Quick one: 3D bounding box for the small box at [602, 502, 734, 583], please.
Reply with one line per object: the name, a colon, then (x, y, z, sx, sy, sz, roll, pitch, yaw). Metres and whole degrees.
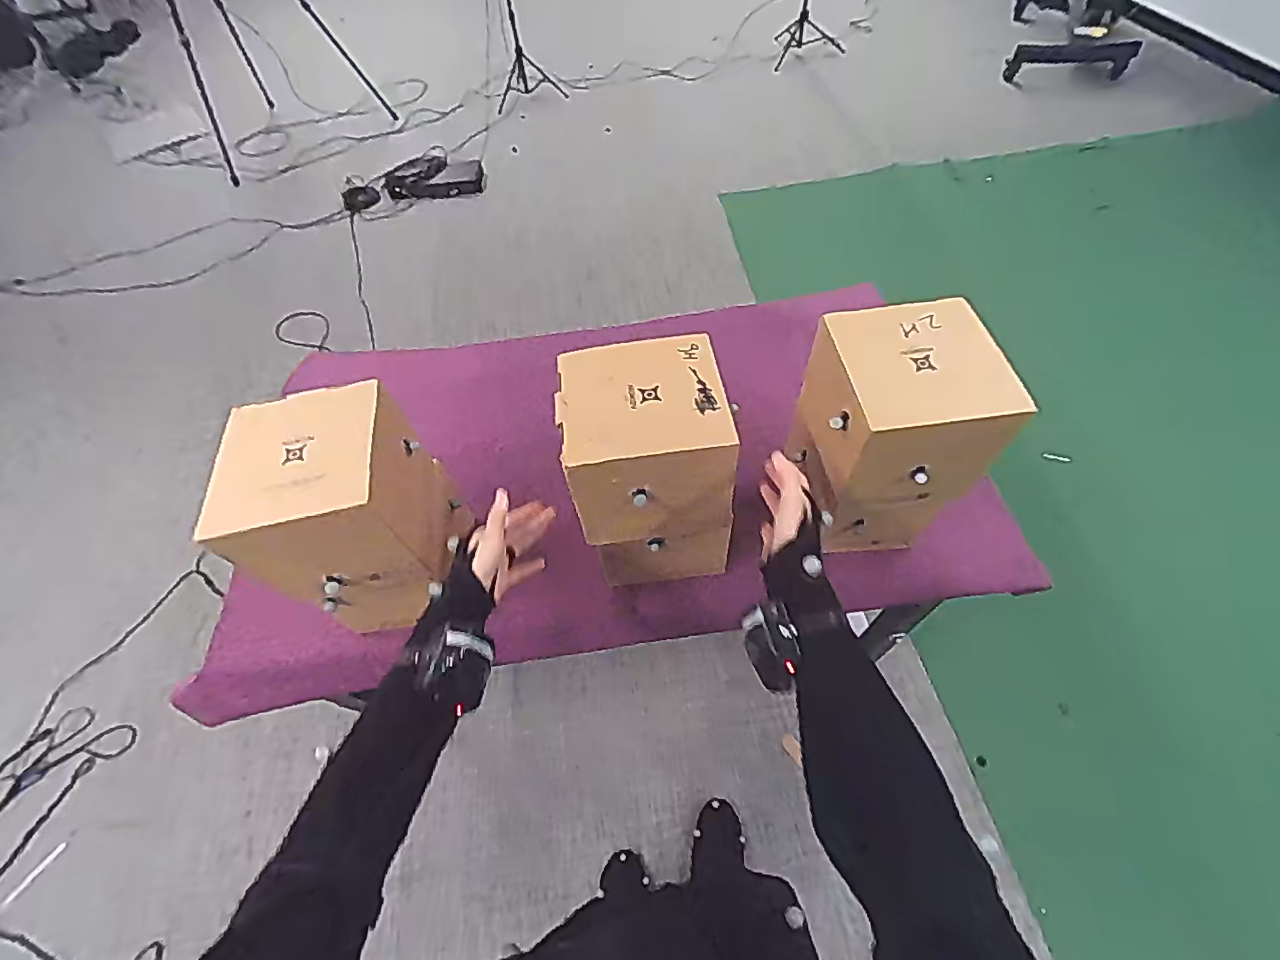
small box: (0.030, 0.037, 0.776, 0.179, 0.176, 0.168, -6, 56, -1)

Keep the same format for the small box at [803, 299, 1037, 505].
small box: (0.305, -0.081, 0.636, 0.168, 0.176, 0.179, -6, 56, 0)

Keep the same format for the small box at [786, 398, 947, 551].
small box: (0.318, -0.005, 0.783, 0.168, 0.176, 0.179, -4, 56, 2)

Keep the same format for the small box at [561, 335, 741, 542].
small box: (0.012, -0.041, 0.633, 0.179, 0.176, 0.168, -8, 56, 0)

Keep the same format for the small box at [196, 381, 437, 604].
small box: (-0.345, 0.018, 0.620, 0.168, 0.176, 0.179, -12, 55, -3)
